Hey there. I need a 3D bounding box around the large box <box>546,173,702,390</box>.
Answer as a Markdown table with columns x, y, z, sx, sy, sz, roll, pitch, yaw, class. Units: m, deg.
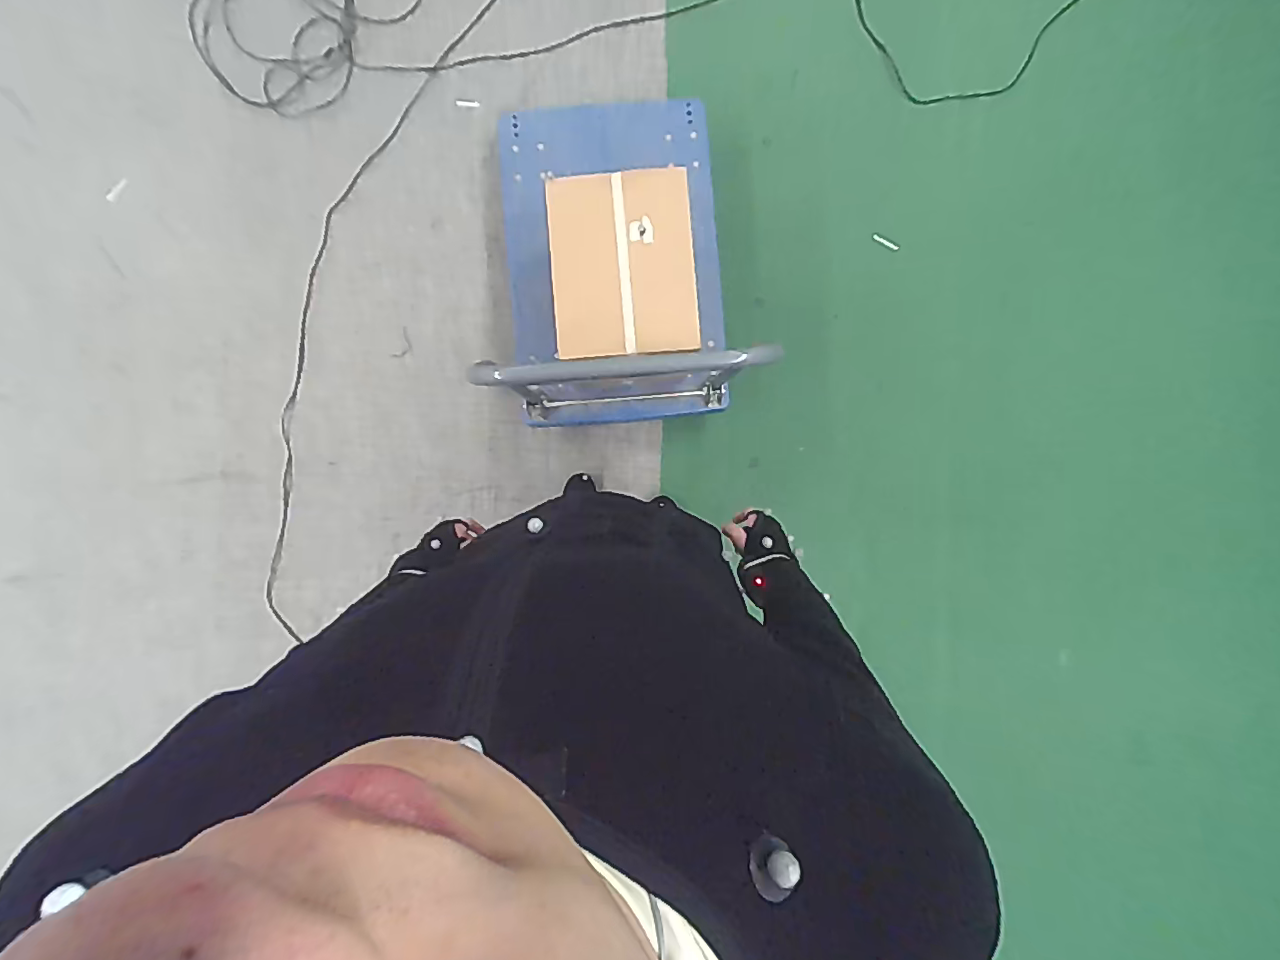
| x | y | z | sx | sy | sz | roll | pitch | yaw | class |
| --- | --- | --- | --- | --- | --- | --- | --- | --- | --- |
| -0.038 | -0.459 | 1.328 | 0.320 | 0.320 | 0.408 | -5 | 88 | -2 | large box |
